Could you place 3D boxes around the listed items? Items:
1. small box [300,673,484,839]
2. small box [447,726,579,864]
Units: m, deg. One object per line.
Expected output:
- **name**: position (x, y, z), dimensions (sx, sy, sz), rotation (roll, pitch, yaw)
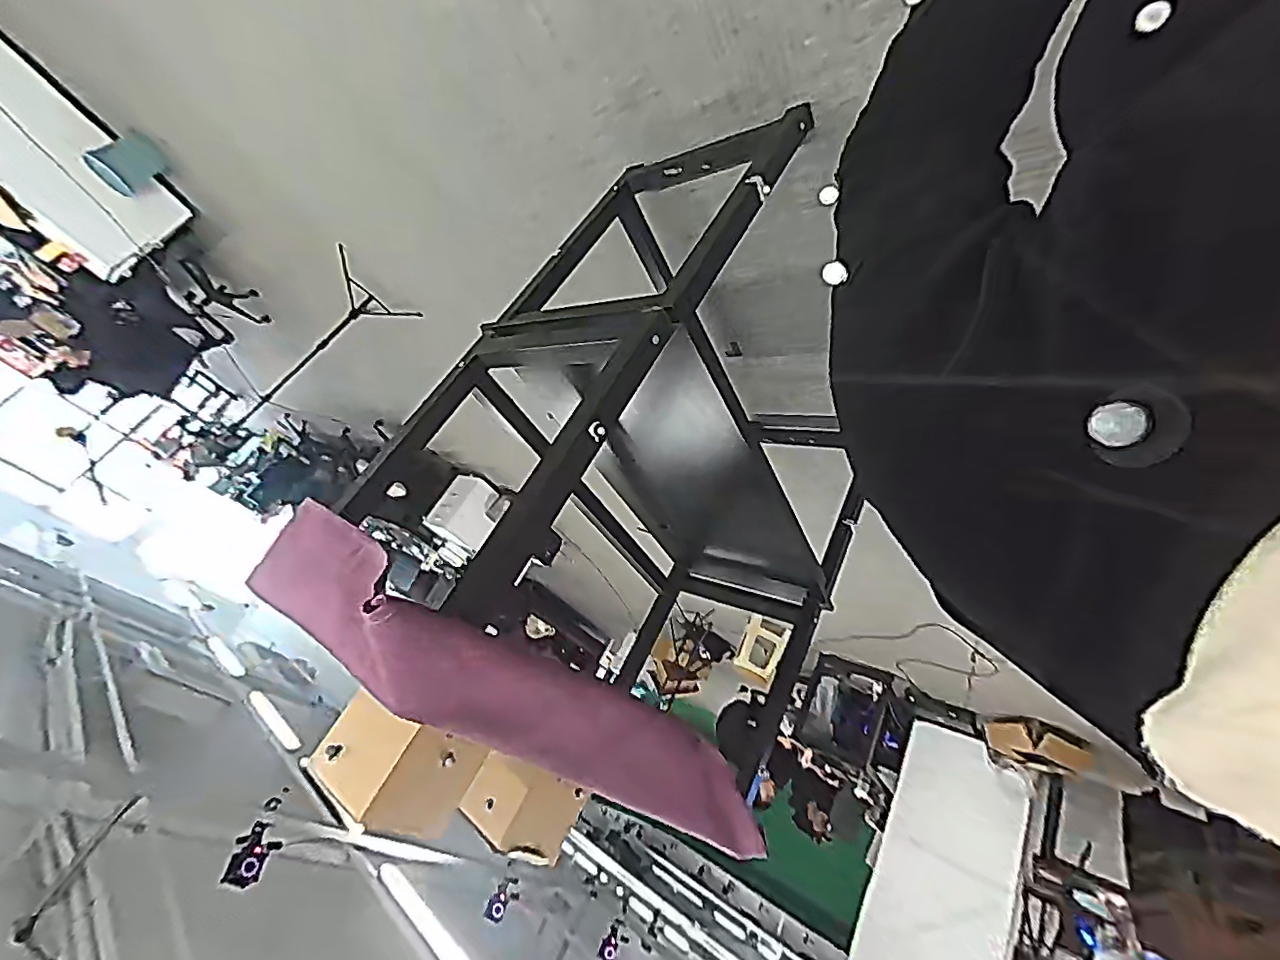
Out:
- **small box**: position (-0.388, 0.433, 0.867), dimensions (0.179, 0.176, 0.168), rotation (11, 151, 37)
- **small box**: position (-0.247, 0.629, 1.094), dimensions (0.179, 0.176, 0.168), rotation (6, 146, 45)
